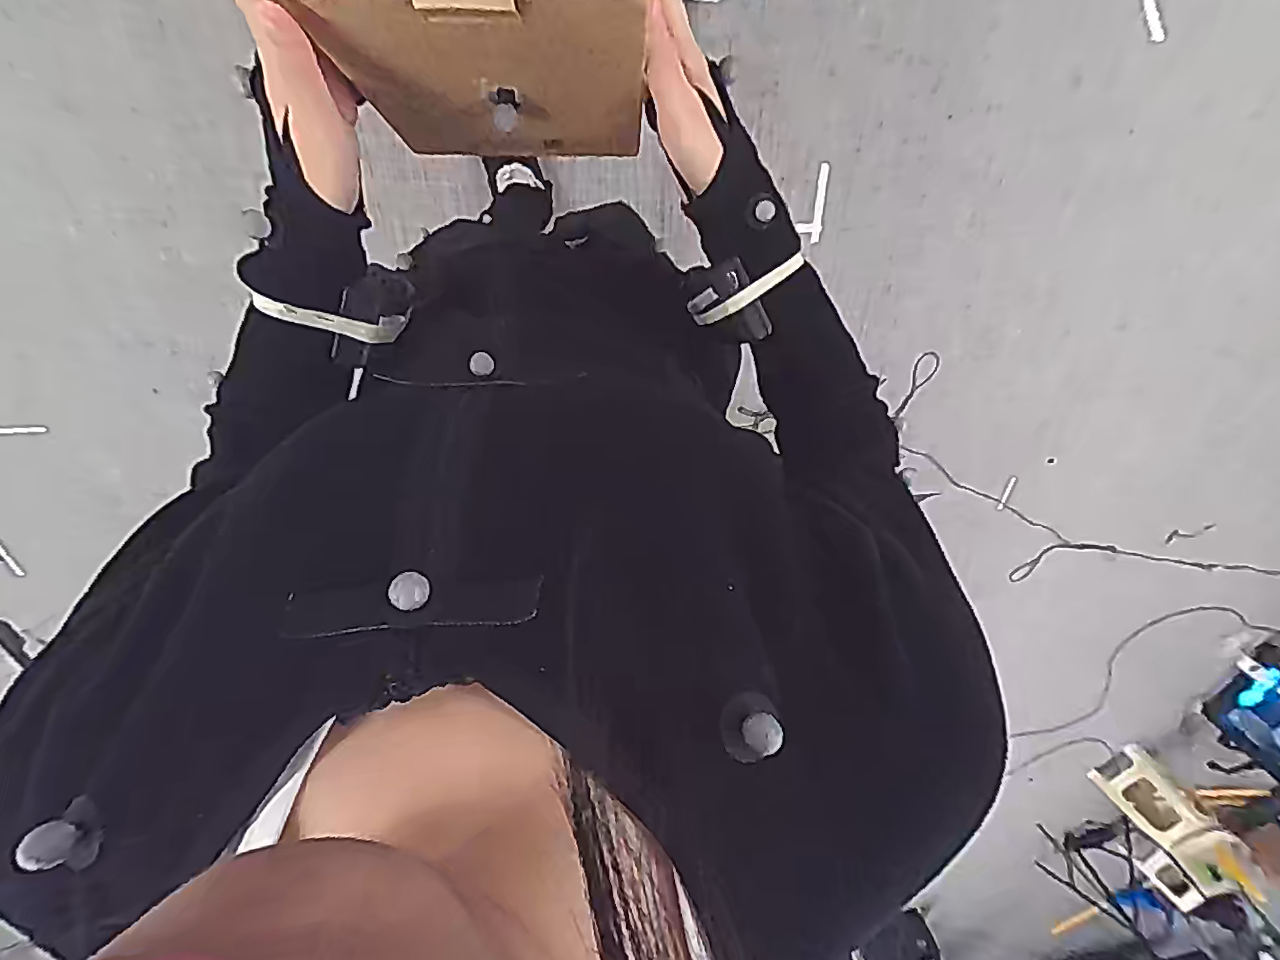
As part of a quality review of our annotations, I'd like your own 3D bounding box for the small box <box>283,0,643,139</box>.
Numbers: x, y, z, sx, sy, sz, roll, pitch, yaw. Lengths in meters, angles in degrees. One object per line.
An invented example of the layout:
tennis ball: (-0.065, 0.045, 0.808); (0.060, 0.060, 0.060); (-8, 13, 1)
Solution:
small box: (-0.081, -0.311, 0.294); (0.168, 0.176, 0.179); (-1, 100, -2)
